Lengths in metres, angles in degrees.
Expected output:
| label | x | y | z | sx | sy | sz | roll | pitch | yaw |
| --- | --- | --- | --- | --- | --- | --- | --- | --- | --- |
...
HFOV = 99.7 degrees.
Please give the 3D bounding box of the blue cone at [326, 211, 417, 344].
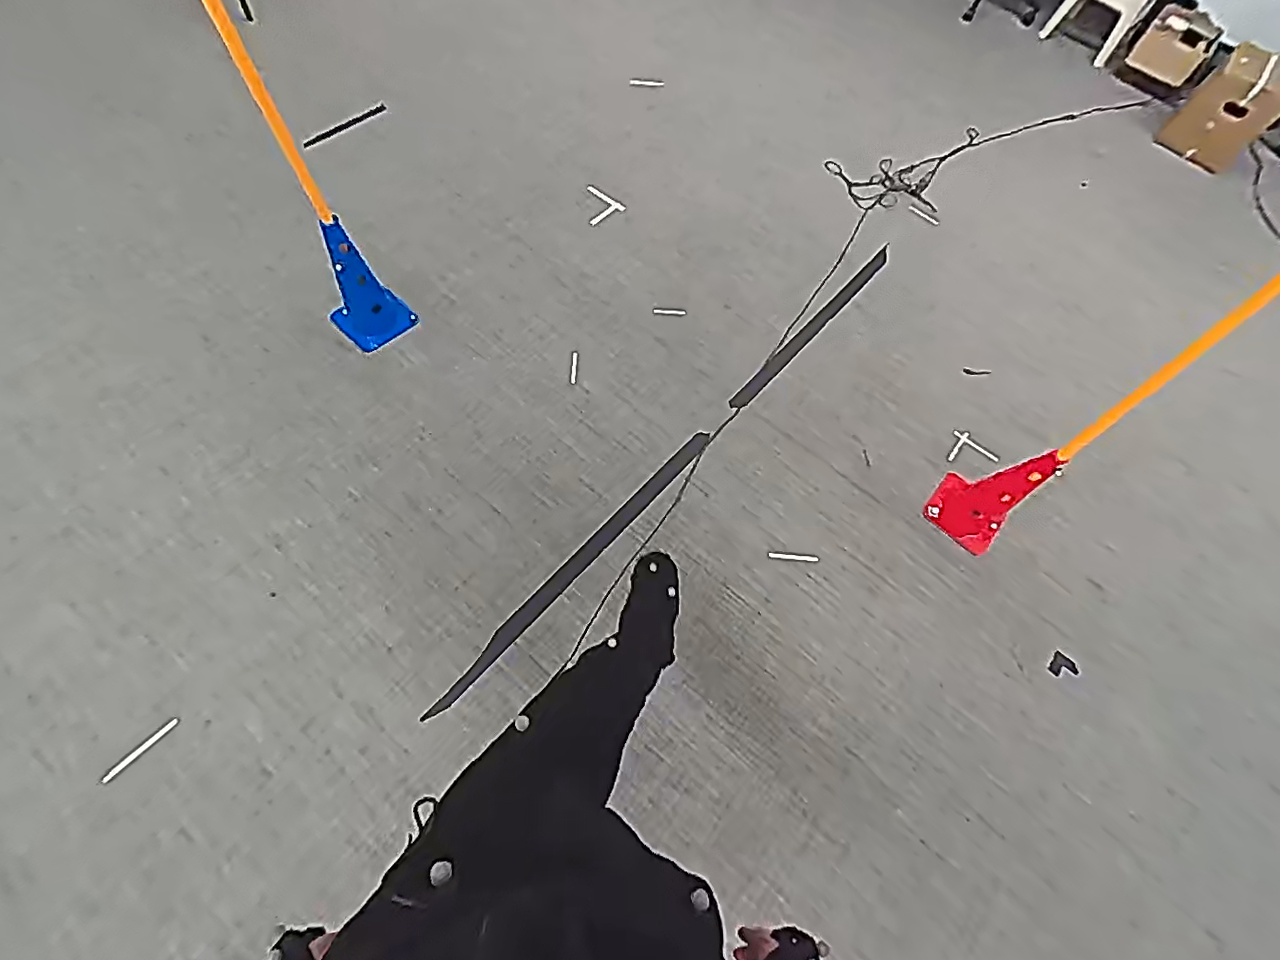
| label | x | y | z | sx | sy | sz | roll | pitch | yaw |
| --- | --- | --- | --- | --- | --- | --- | --- | --- | --- |
| blue cone | -0.801 | -0.584 | 1.527 | 0.193 | 0.380 | 0.192 | 43 | 67 | 13 |
